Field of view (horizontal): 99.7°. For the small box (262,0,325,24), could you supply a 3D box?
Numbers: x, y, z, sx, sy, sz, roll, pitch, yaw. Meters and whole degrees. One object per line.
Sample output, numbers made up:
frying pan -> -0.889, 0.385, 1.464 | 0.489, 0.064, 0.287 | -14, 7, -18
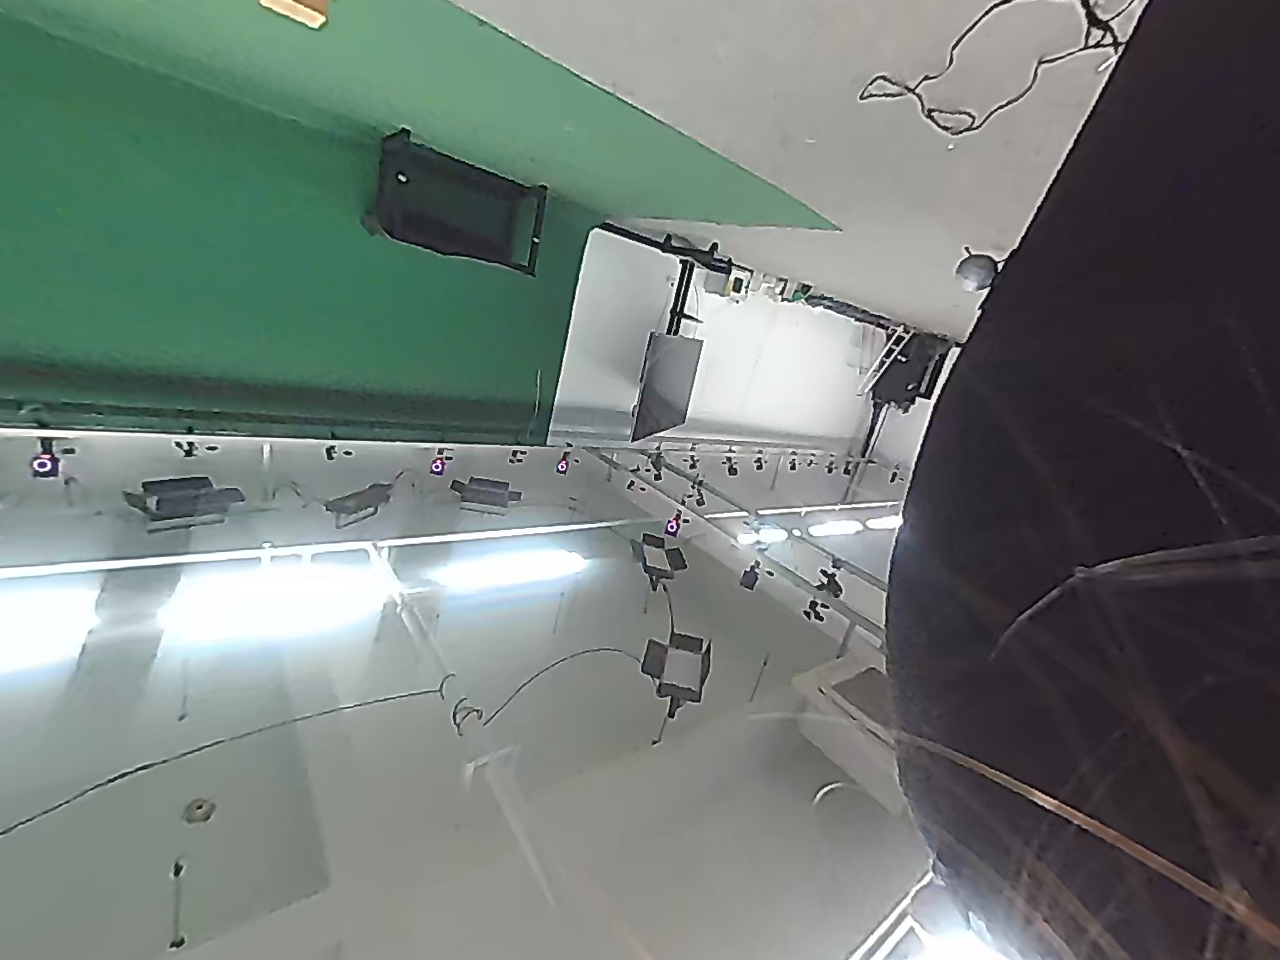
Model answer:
small box -> -1.096, -1.591, 1.700 | 0.168, 0.176, 0.179 | -3, -156, -41
